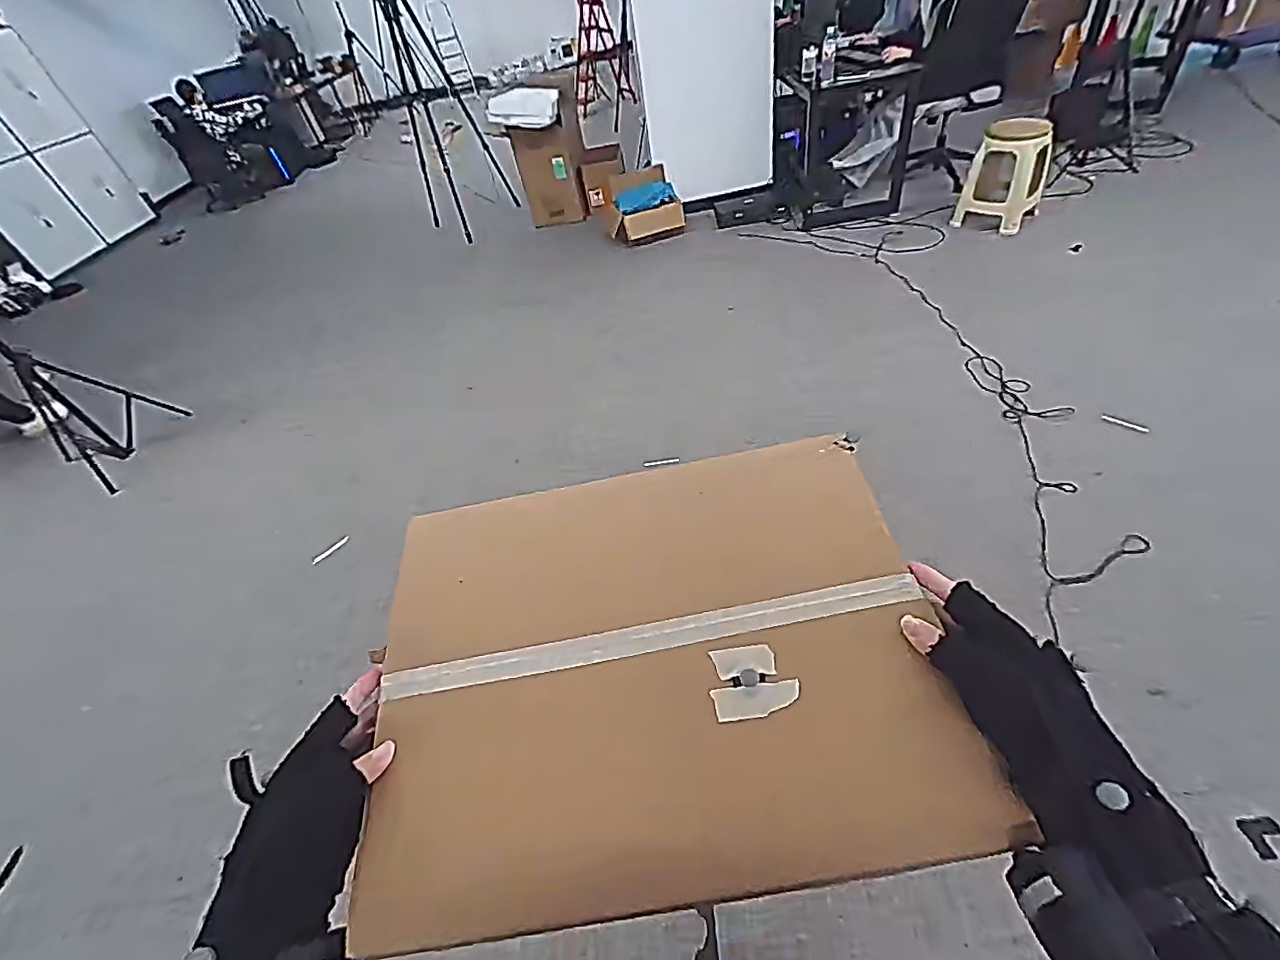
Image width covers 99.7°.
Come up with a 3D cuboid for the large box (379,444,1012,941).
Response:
[{"bbox_3d":[0.029,0.211,0.534,0.408,0.320,0.320,-11,53,1],"label":"large box"}]
